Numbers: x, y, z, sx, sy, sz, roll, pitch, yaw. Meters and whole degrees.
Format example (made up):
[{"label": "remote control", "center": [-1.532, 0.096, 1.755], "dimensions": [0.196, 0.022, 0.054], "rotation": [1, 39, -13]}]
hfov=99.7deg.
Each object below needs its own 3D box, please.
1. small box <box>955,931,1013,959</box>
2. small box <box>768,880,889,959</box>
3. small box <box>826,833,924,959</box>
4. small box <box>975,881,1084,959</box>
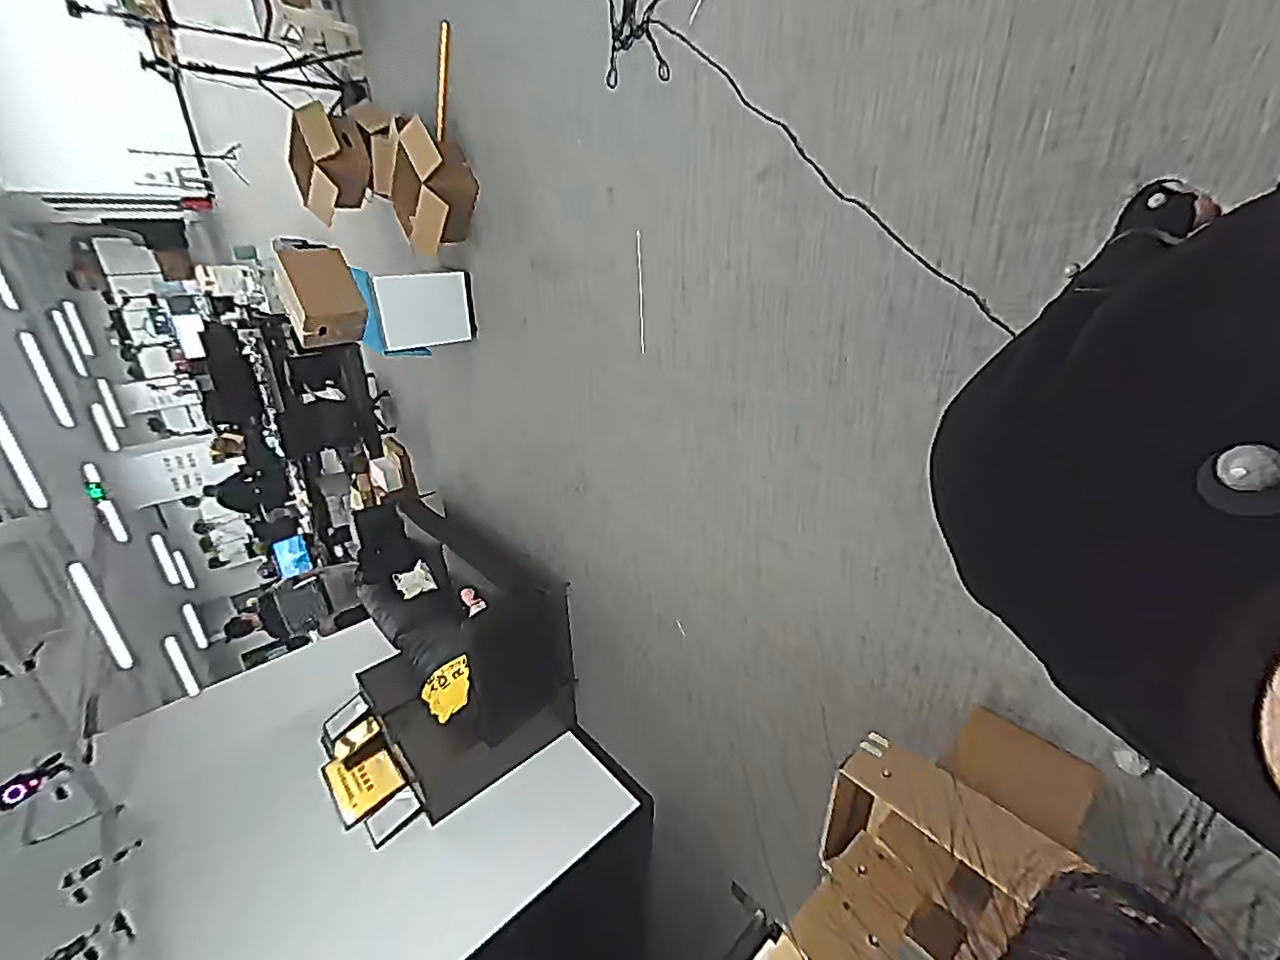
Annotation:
[{"label": "small box", "center": [0.707, 1.074, 1.083], "dimensions": [0.168, 0.176, 0.179], "rotation": [21, 122, 46]}, {"label": "small box", "center": [0.407, 1.019, 1.163], "dimensions": [0.168, 0.176, 0.179], "rotation": [35, 131, 39]}, {"label": "small box", "center": [0.532, 0.978, 1.260], "dimensions": [0.168, 0.176, 0.179], "rotation": [31, 129, 40]}, {"label": "small box", "center": [0.836, 1.044, 1.181], "dimensions": [0.168, 0.176, 0.179], "rotation": [20, 121, 45]}]
